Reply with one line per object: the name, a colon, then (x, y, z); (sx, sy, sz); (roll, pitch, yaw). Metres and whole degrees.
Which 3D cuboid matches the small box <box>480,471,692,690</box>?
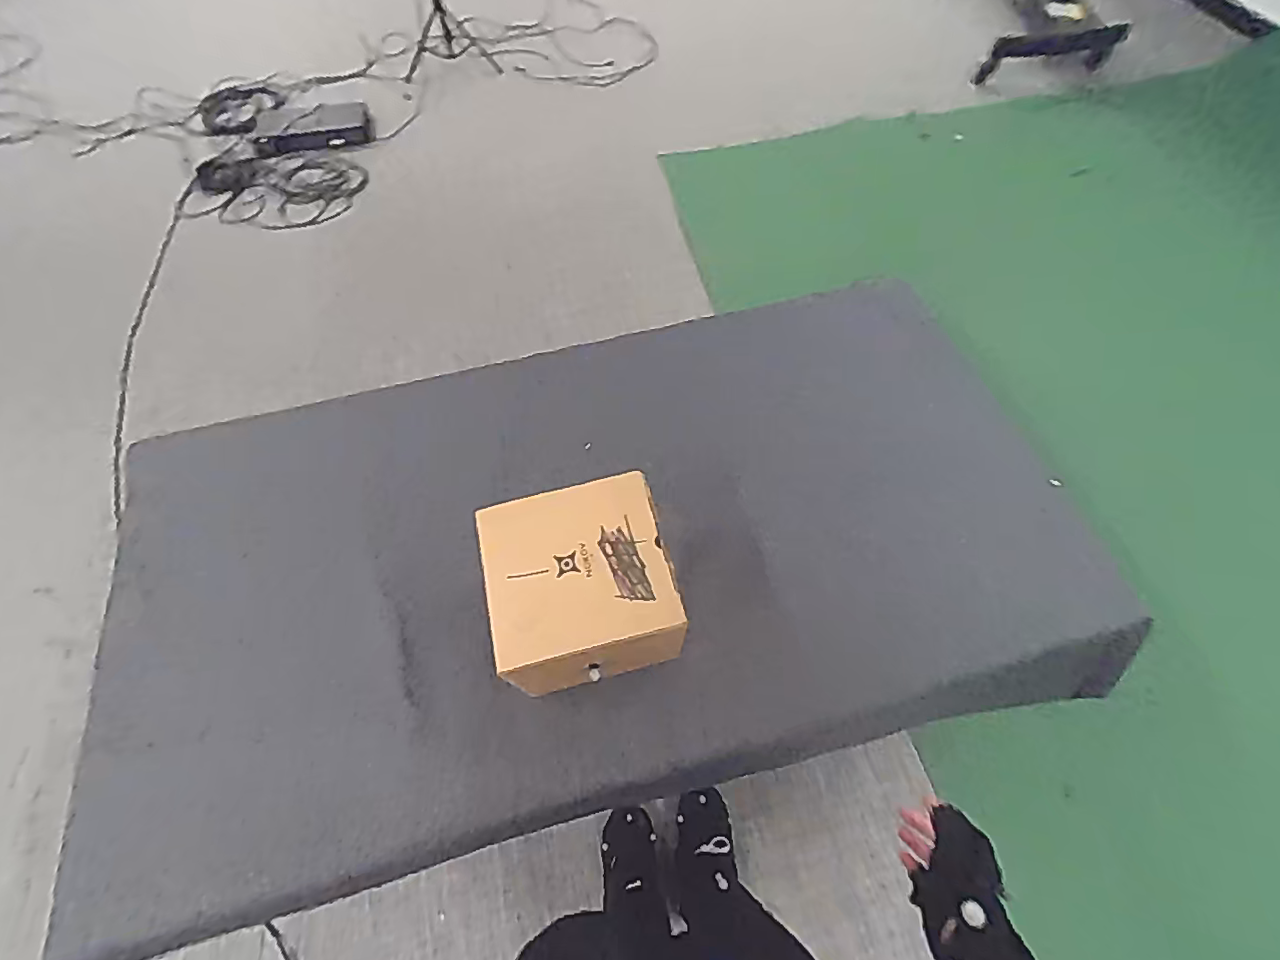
small box: (-0.059, 0.116, 0.596); (0.179, 0.176, 0.168); (-16, 63, -9)
